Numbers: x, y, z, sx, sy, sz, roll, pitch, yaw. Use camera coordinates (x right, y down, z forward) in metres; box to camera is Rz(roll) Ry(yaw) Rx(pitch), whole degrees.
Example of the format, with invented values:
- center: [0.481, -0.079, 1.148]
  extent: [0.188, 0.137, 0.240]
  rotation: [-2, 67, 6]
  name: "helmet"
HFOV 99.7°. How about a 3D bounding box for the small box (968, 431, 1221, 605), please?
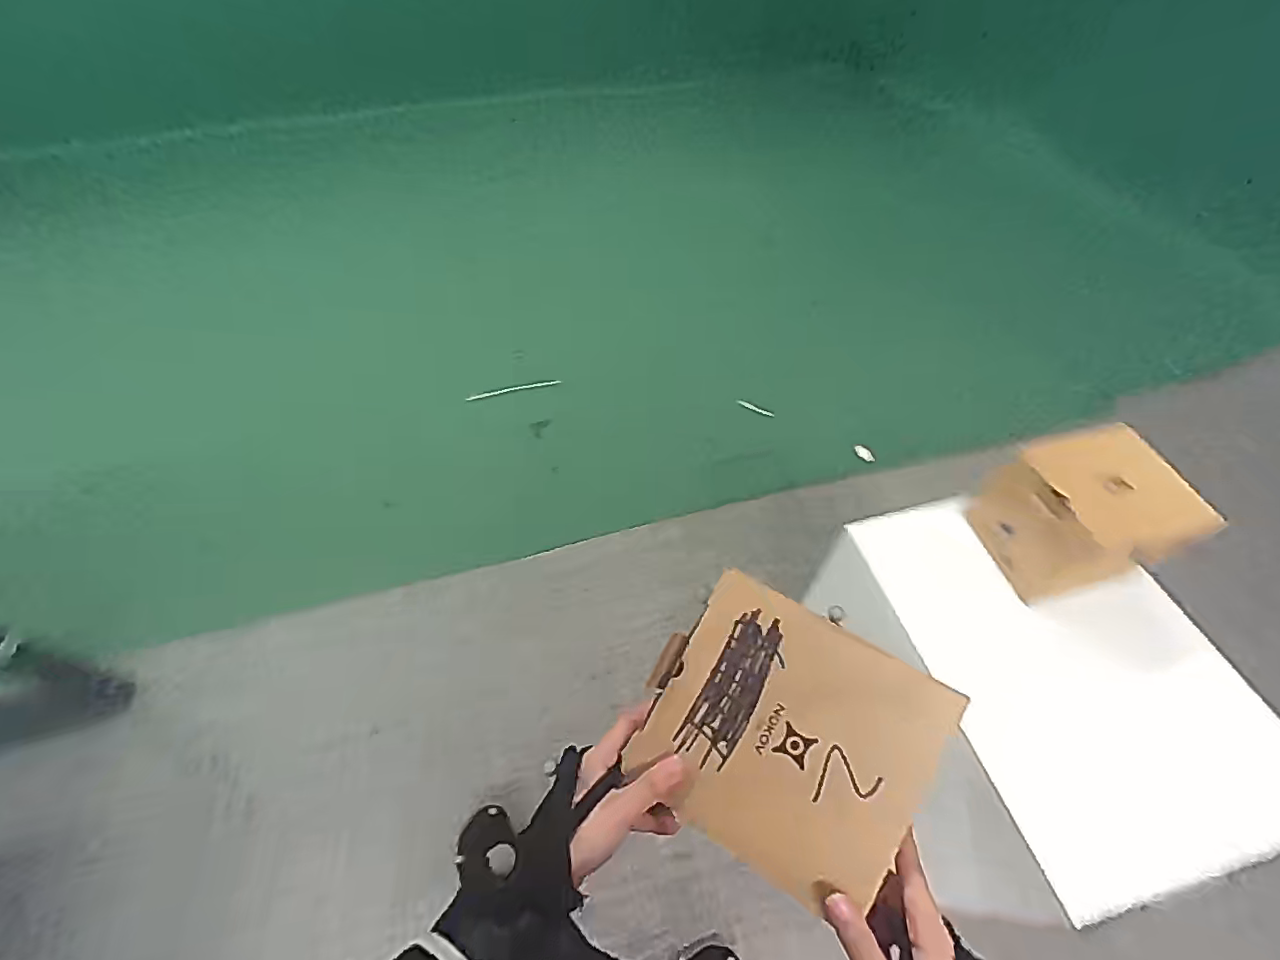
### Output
- center: [0.619, 0.057, 0.767]
  extent: [0.179, 0.176, 0.168]
  rotation: [-12, 56, -7]
  name: "small box"
